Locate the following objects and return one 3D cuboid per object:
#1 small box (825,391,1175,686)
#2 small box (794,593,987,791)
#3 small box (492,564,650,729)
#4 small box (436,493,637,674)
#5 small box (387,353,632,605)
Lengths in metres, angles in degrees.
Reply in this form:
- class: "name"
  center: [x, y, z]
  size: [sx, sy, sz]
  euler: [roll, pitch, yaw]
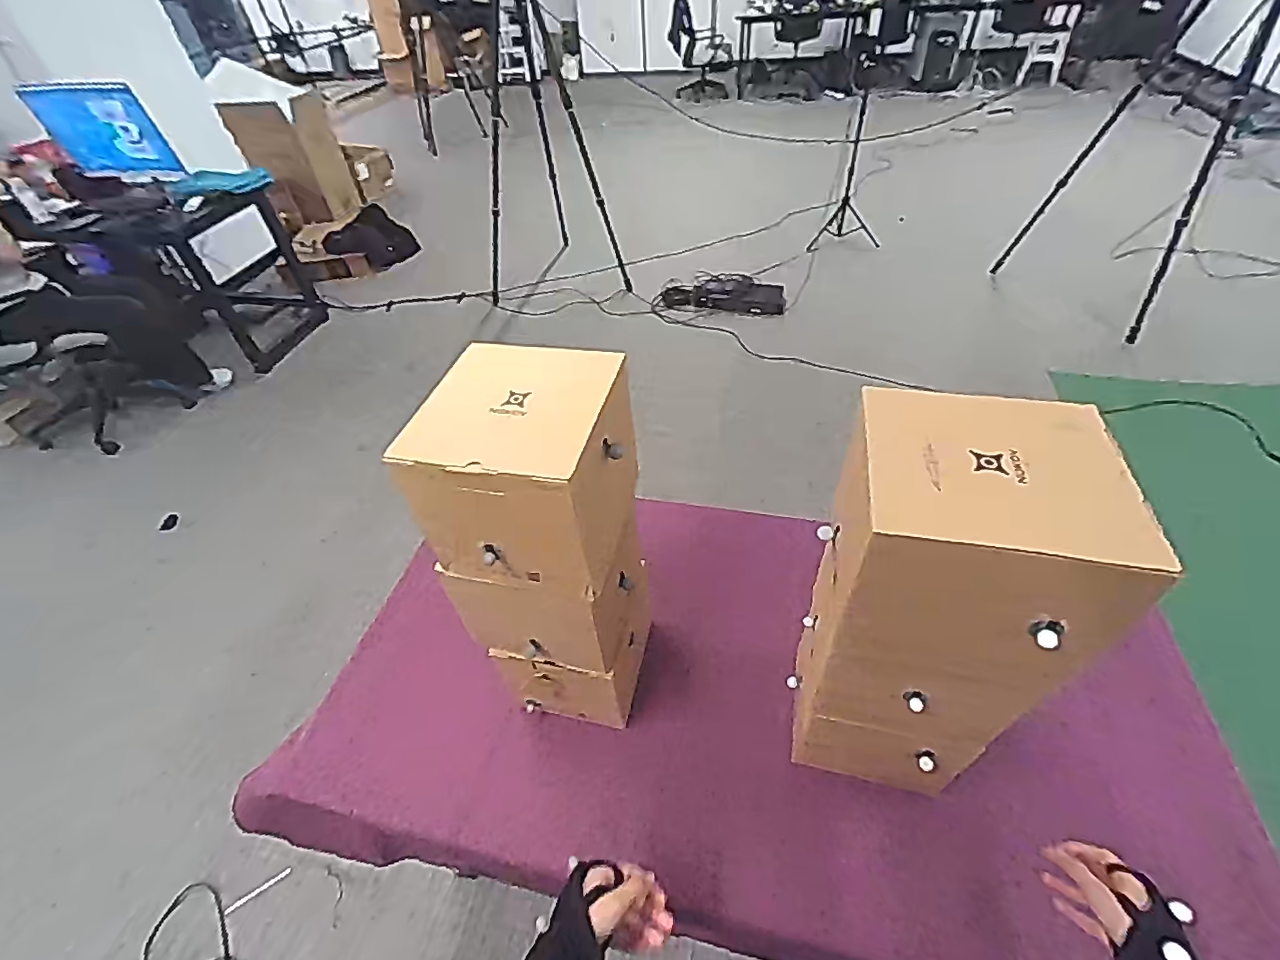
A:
- class: "small box"
  center: [0.259, 0.049, 0.446]
  size: [0.179, 0.176, 0.168]
  euler: [7, 46, 13]
- class: "small box"
  center: [0.300, 0.271, 0.685]
  size: [0.179, 0.176, 0.168]
  euler: [7, 46, 13]
- class: "small box"
  center: [-0.082, 0.228, 0.769]
  size: [0.168, 0.176, 0.179]
  euler: [7, 46, 12]
- class: "small box"
  center: [-0.106, 0.113, 0.653]
  size: [0.179, 0.176, 0.168]
  euler: [8, 46, 12]
- class: "small box"
  center: [-0.106, -0.003, 0.538]
  size: [0.168, 0.176, 0.179]
  euler: [6, 47, 12]
